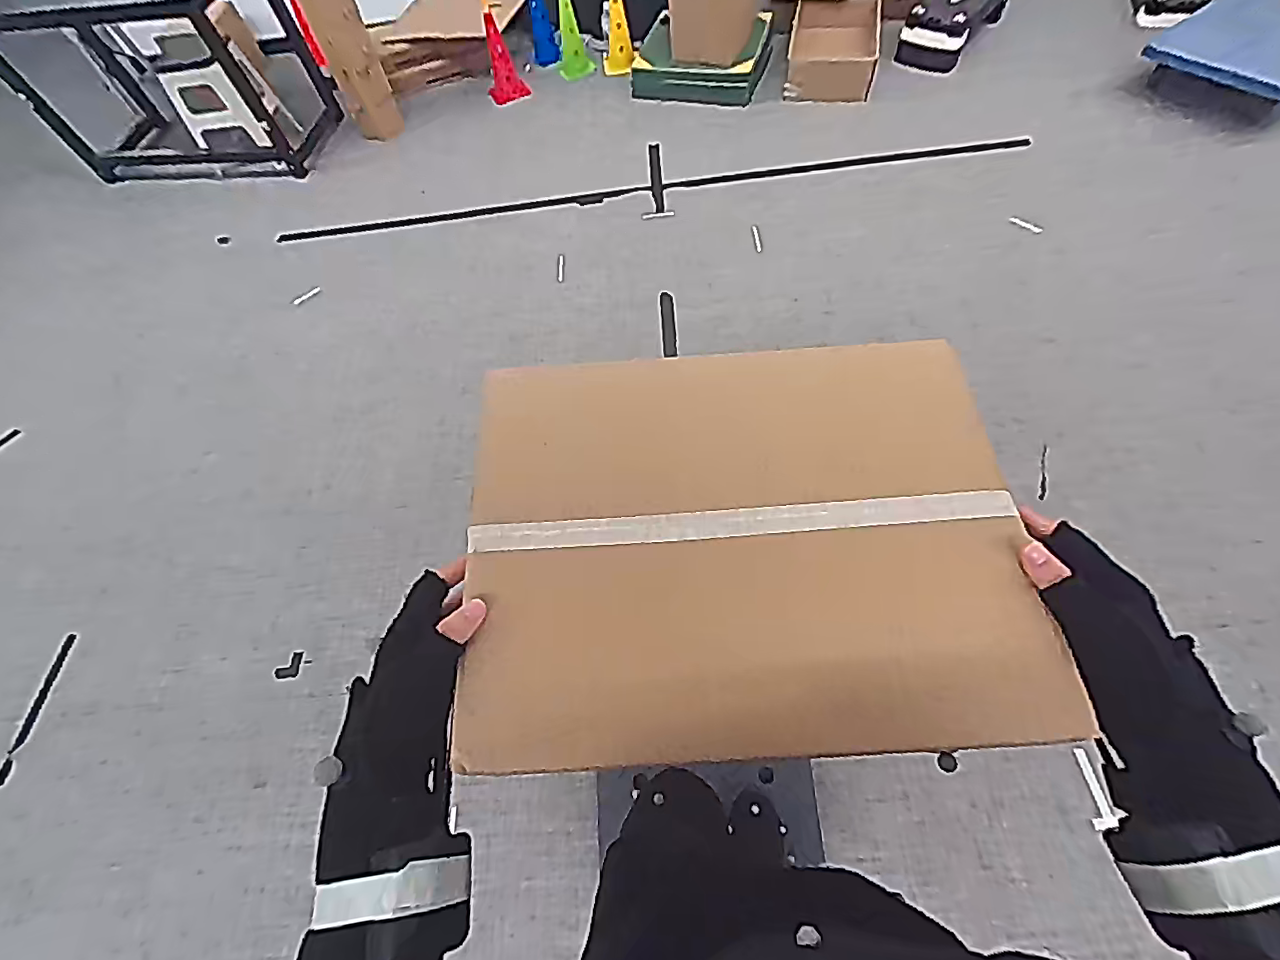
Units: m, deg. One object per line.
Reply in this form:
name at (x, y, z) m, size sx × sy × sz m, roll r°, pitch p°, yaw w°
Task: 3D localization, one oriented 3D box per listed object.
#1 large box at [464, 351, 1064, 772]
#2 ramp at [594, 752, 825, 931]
large box at (0.079, 0.099, 0.549) m, size 0.408 × 0.320 × 0.320 m, roll -3°, pitch 64°, yaw 0°
ramp at (0.124, 0.478, 1.309) m, size 0.509 × 0.206 × 0.991 m, roll -6°, pitch 61°, yaw 1°
